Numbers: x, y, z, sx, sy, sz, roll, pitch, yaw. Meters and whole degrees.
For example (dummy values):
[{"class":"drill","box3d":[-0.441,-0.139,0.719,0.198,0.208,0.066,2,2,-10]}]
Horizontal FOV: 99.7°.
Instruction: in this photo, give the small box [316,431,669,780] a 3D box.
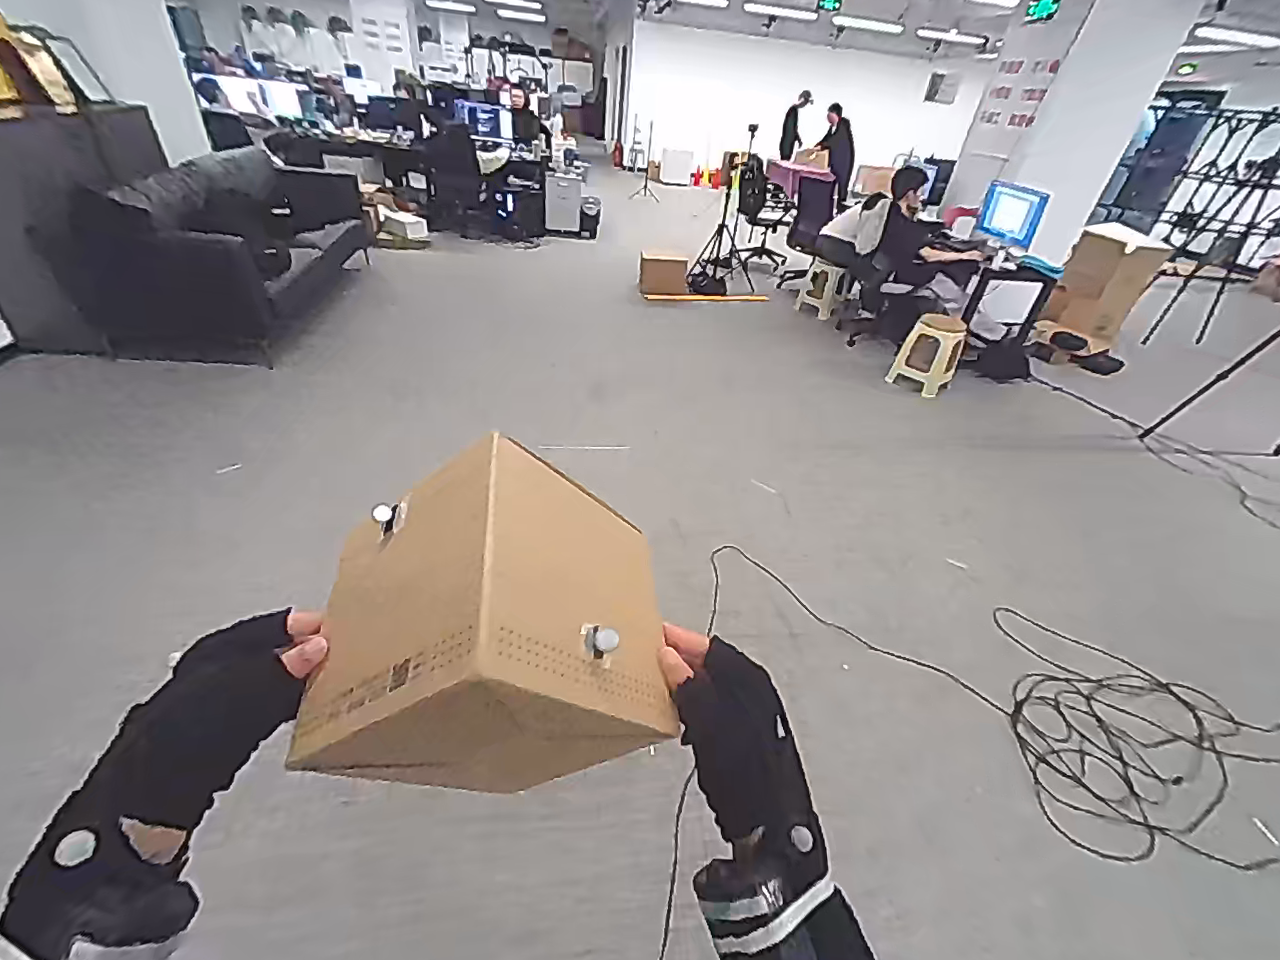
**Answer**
[{"class":"small box","box3d":[-0.093,0.105,0.396,0.168,0.179,0.176,-30,44,21]}]
